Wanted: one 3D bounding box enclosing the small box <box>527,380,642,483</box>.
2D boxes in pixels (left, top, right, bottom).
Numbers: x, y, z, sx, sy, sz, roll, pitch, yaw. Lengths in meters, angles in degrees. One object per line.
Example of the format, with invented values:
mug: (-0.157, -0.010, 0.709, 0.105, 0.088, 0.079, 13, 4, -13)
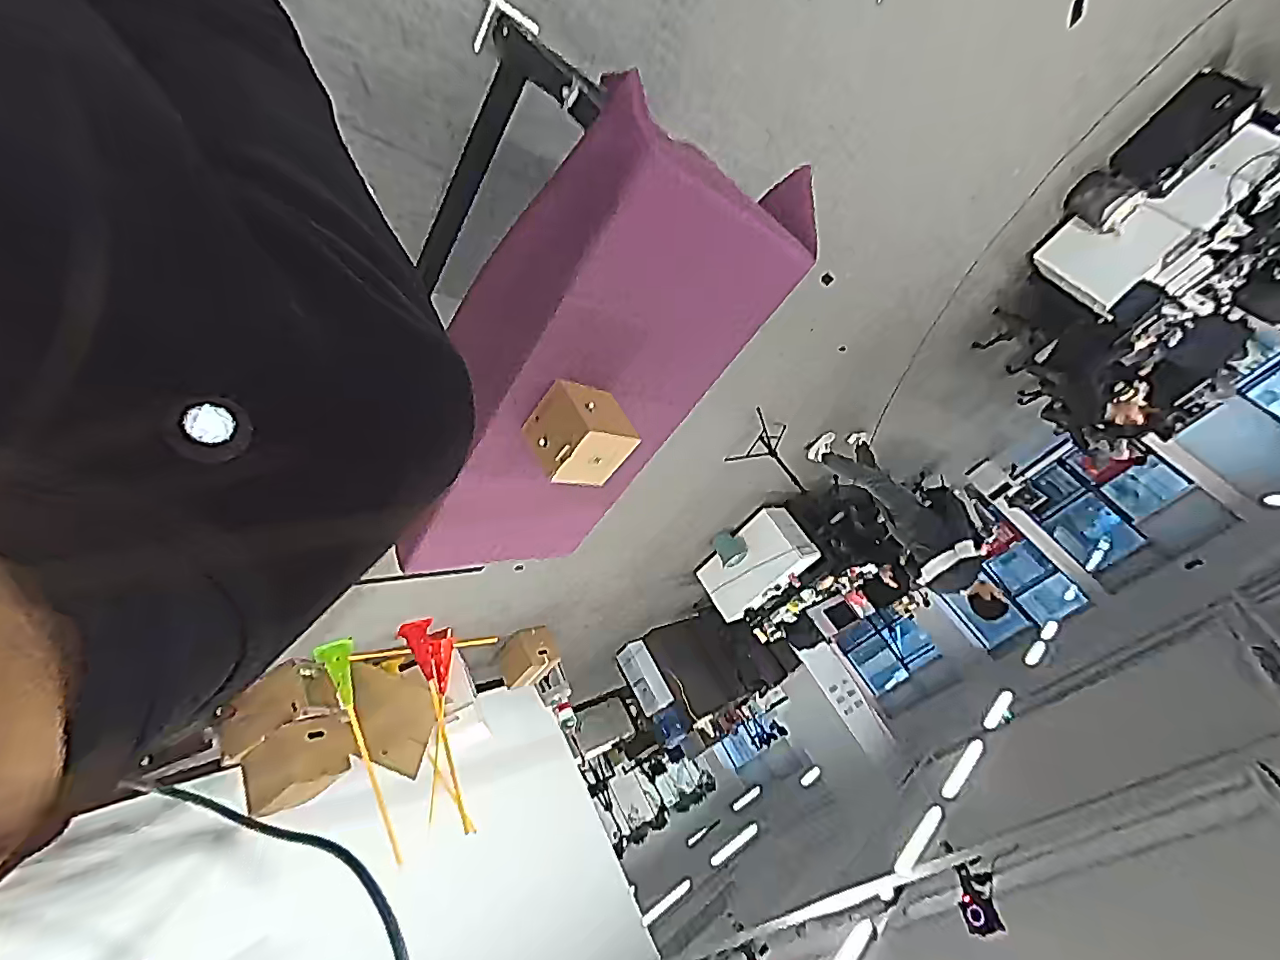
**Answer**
small box: (-0.135, -0.113, 1.264, 0.179, 0.176, 0.168, 5, 136, -51)
